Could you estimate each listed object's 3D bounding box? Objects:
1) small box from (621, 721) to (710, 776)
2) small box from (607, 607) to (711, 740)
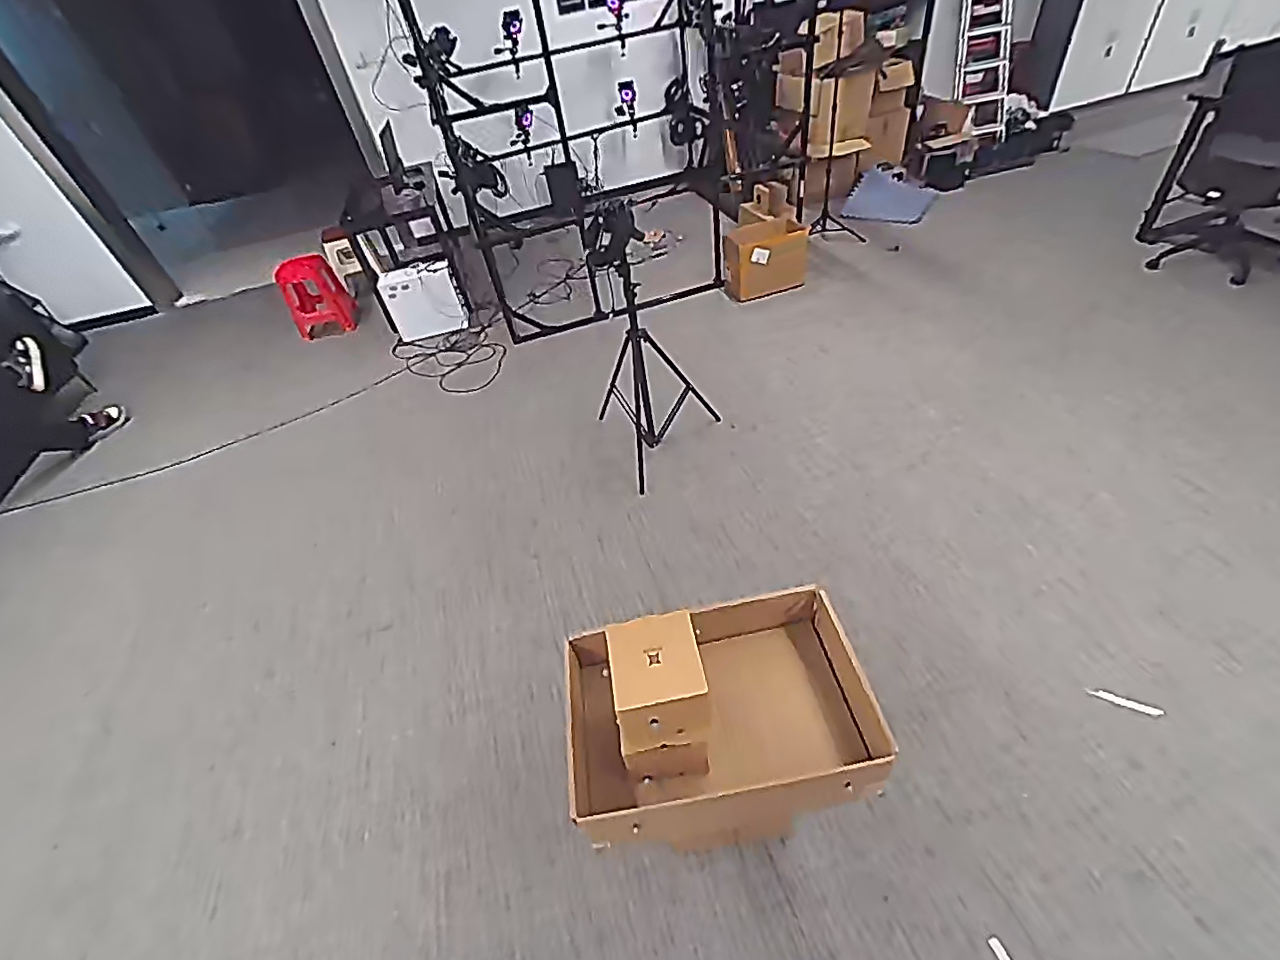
[{"bbox_3d":[0.051,0.504,1.142,0.168,0.176,0.179,-9,42,1],"label":"small box"},{"bbox_3d":[0.038,0.378,1.040,0.168,0.176,0.179,-11,42,-1],"label":"small box"}]
